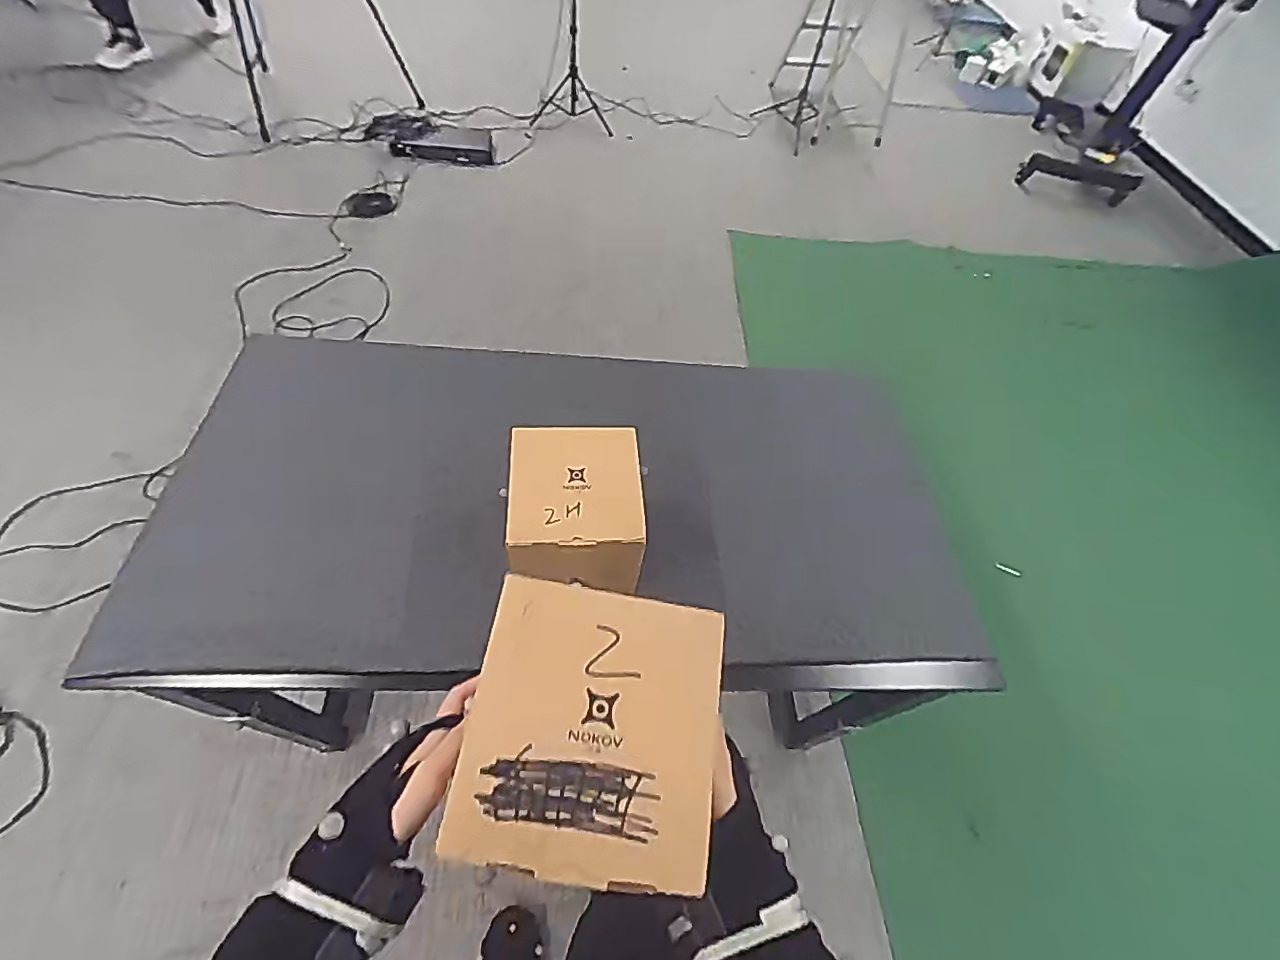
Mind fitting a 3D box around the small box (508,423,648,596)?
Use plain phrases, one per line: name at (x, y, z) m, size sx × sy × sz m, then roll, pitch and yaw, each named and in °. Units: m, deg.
small box at (-0.086, 0.042, 0.737) m, size 0.168 × 0.176 × 0.179 m, roll -1°, pitch 56°, yaw -8°
